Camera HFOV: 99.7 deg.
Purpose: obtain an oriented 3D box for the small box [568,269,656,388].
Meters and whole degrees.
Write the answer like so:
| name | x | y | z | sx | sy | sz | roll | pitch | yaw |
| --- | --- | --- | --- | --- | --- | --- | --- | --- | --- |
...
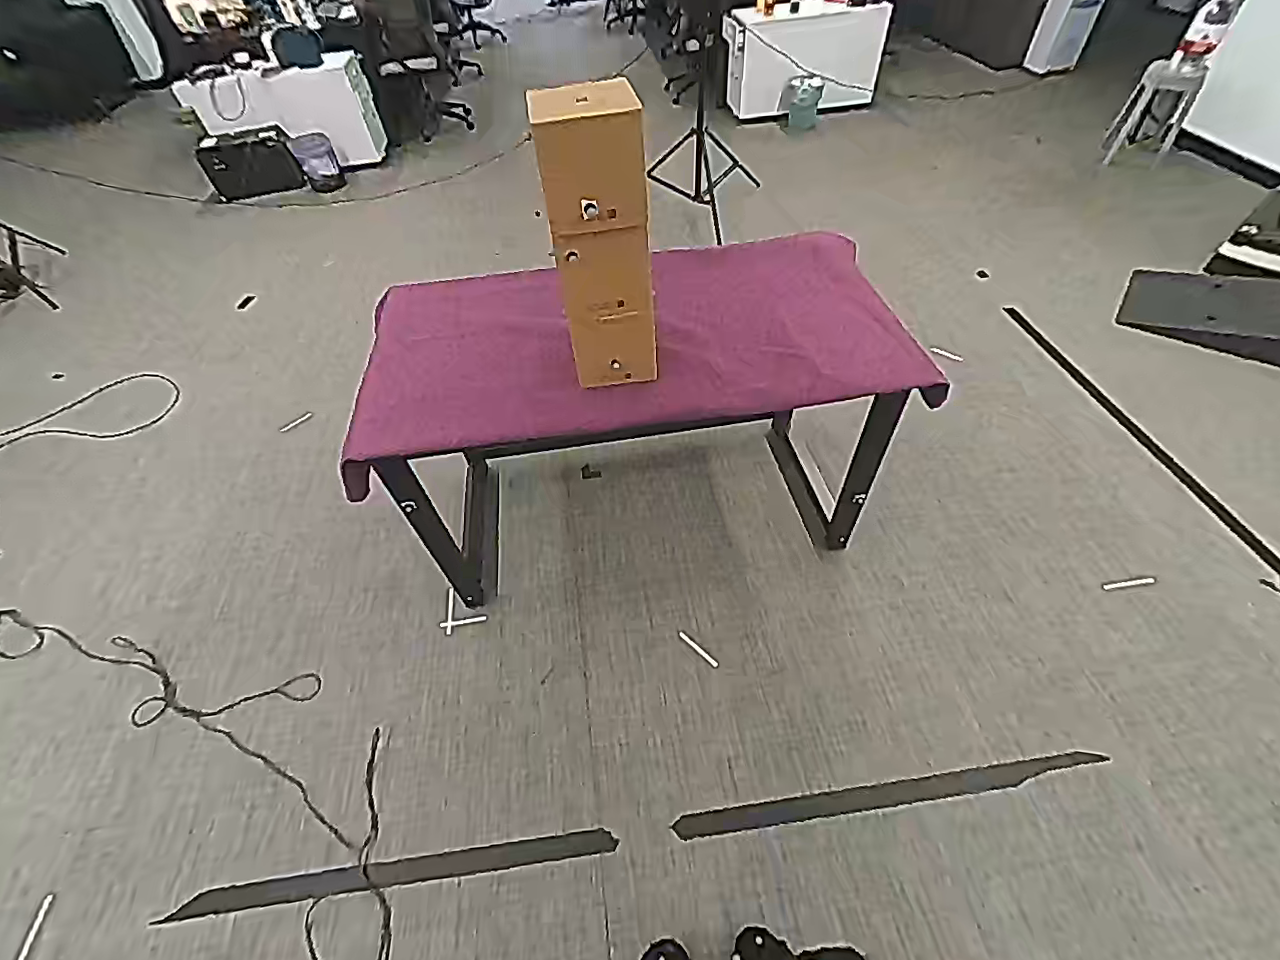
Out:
| name | x | y | z | sx | sy | sz | roll | pitch | yaw |
| --- | --- | --- | --- | --- | --- | --- | --- | --- | --- |
| small box | -0.059 | -0.319 | 1.144 | 0.168 | 0.176 | 0.179 | -7 | 50 | -1 |

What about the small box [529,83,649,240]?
| name | x | y | z | sx | sy | sz | roll | pitch | yaw |
| --- | --- | --- | --- | --- | --- | --- | --- | --- | --- |
| small box | -0.082 | -0.520 | 0.887 | 0.168 | 0.176 | 0.179 | -11 | 50 | -3 |
